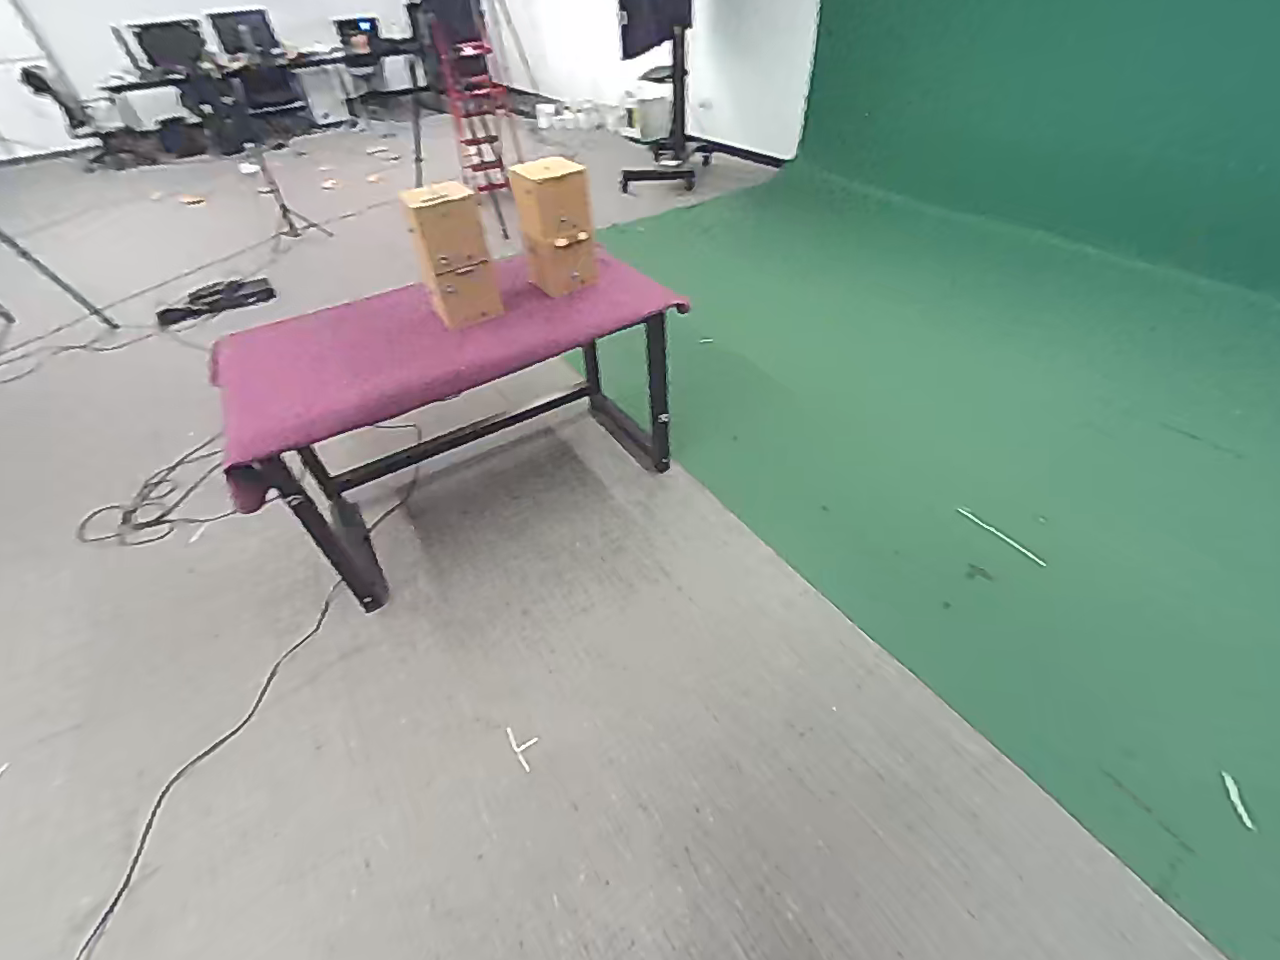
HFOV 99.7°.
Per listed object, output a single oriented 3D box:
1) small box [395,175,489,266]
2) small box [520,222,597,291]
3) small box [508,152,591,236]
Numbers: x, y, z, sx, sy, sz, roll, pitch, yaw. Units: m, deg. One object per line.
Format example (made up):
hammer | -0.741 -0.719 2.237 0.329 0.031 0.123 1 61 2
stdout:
small box | -0.525 -0.690 1.445 0.168 0.176 0.179 -26 47 -21
small box | -0.251 -0.710 1.680 0.168 0.176 0.179 -29 50 -22
small box | -0.260 -0.830 1.569 0.168 0.176 0.179 -28 50 -22
